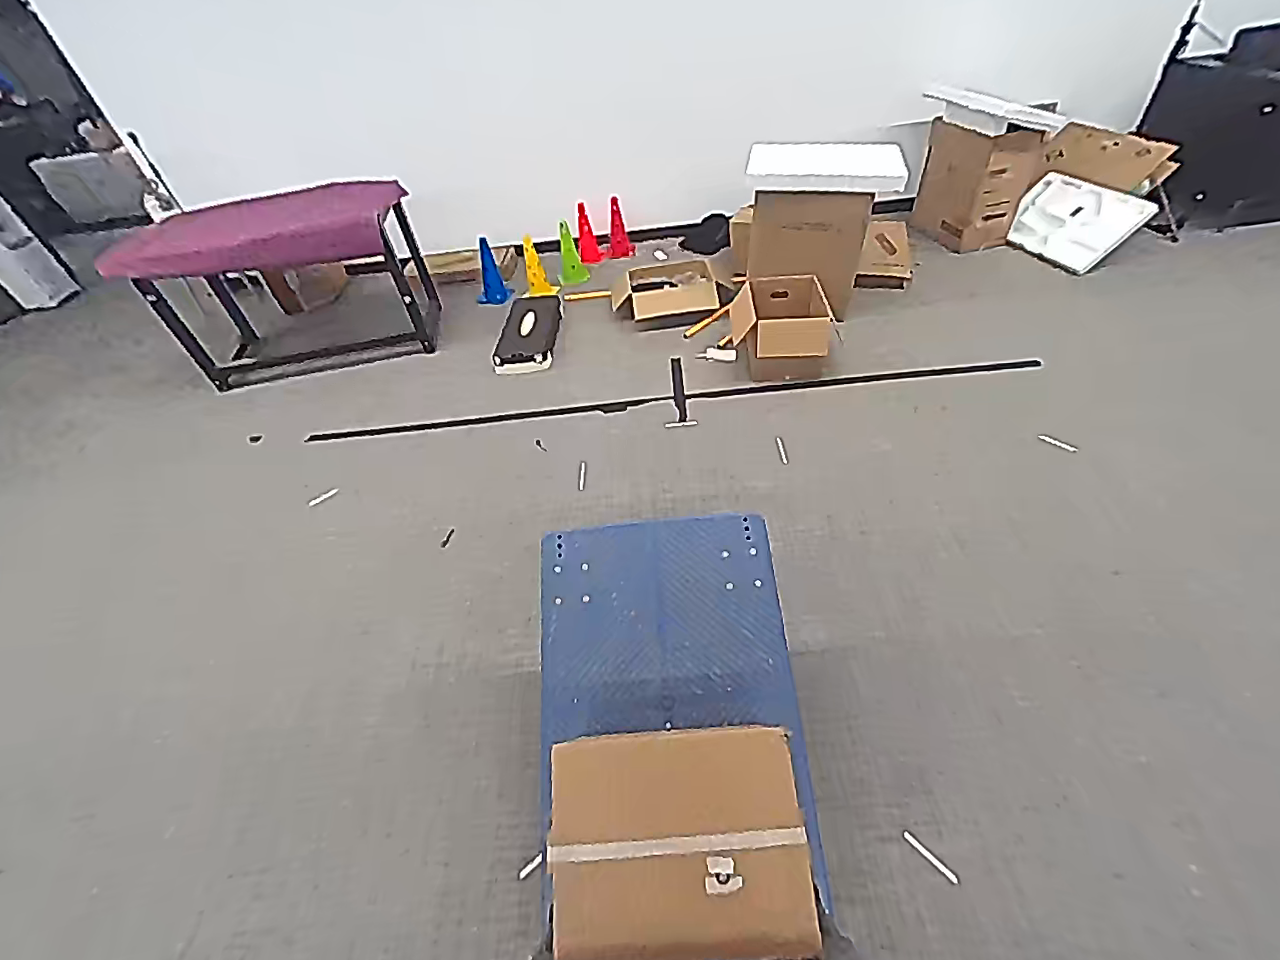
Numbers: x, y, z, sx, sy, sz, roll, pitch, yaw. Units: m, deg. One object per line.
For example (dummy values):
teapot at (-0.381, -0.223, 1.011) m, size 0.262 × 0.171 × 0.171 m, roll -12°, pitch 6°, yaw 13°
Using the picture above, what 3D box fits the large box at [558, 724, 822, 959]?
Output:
large box at (0.073, 0.647, 1.014) m, size 0.408 × 0.320 × 0.320 m, roll -6°, pitch 67°, yaw 1°
